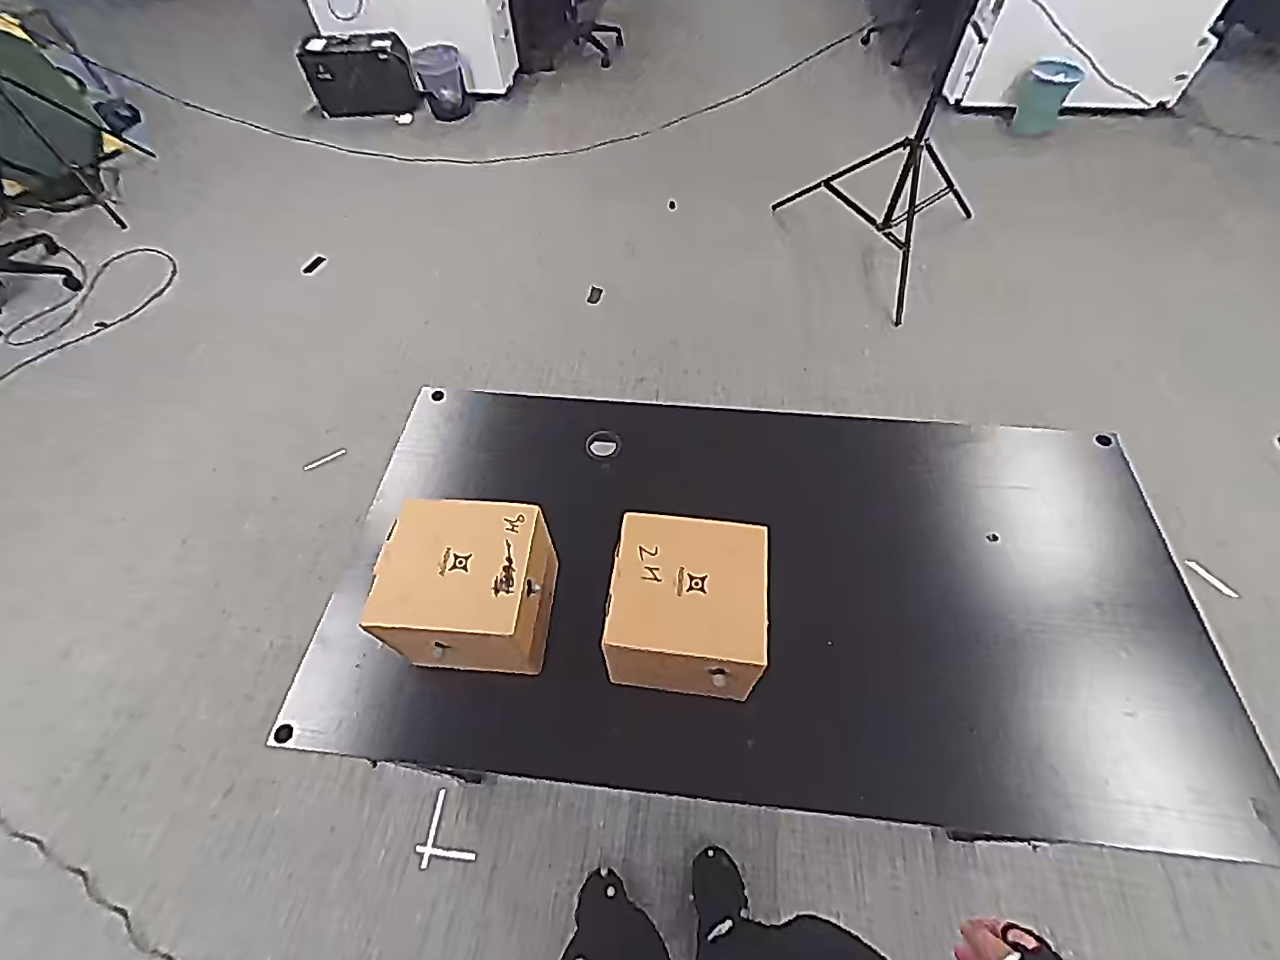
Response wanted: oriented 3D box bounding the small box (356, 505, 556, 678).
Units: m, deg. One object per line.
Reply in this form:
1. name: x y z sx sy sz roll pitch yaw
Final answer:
1. small box: -0.218 0.148 0.696 0.179 0.176 0.168 3 56 3

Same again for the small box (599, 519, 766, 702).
1. small box: 0.054 0.168 0.674 0.179 0.176 0.168 6 56 6
